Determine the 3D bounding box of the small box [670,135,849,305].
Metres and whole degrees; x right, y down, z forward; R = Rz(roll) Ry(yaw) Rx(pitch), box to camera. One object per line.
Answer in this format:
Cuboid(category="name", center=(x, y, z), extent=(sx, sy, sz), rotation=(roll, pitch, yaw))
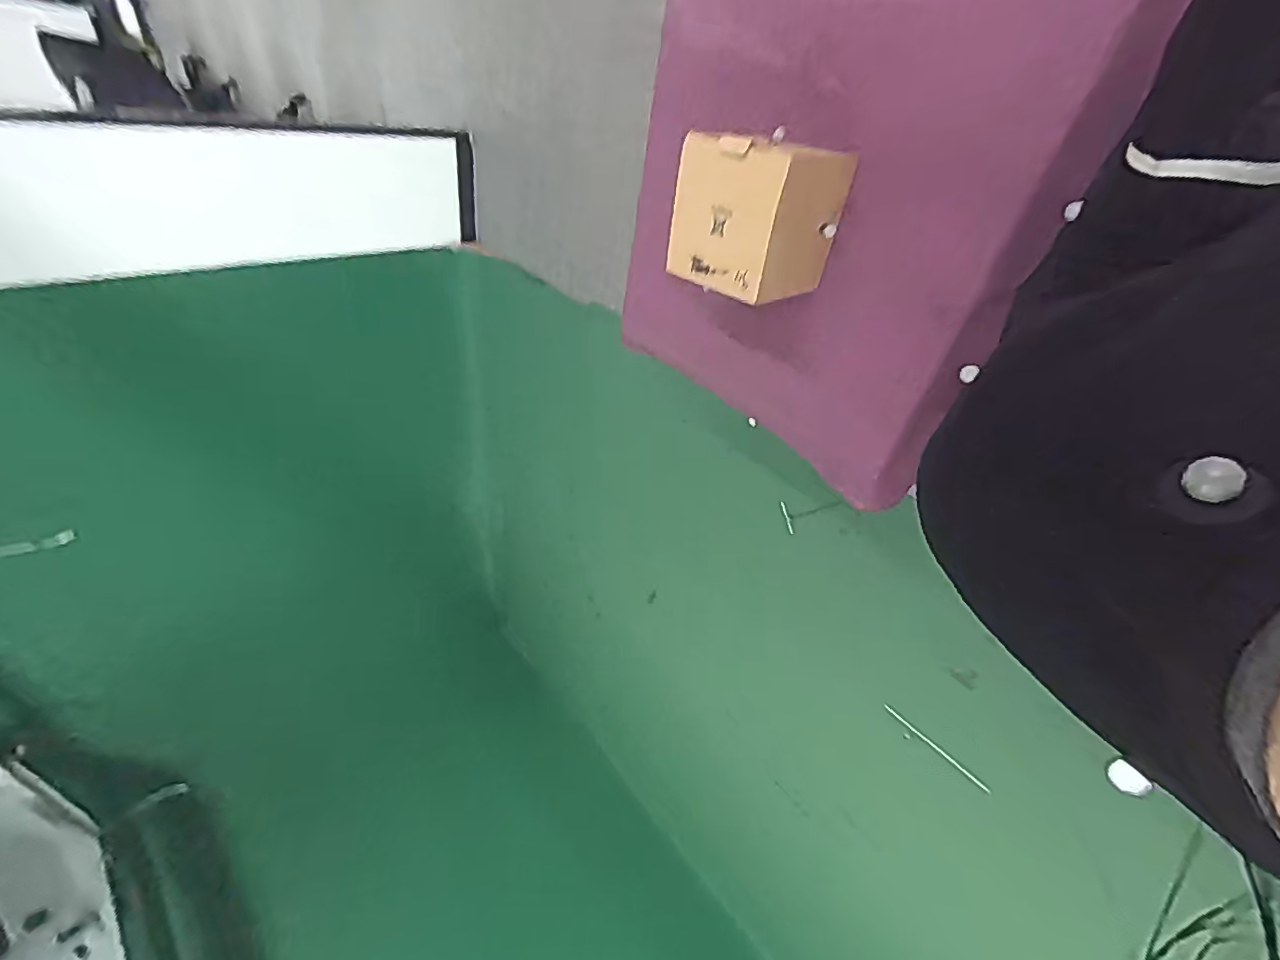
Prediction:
Cuboid(category="small box", center=(0.169, -0.371, 0.768), extent=(0.168, 0.176, 0.179), rotation=(36, 134, 31))
